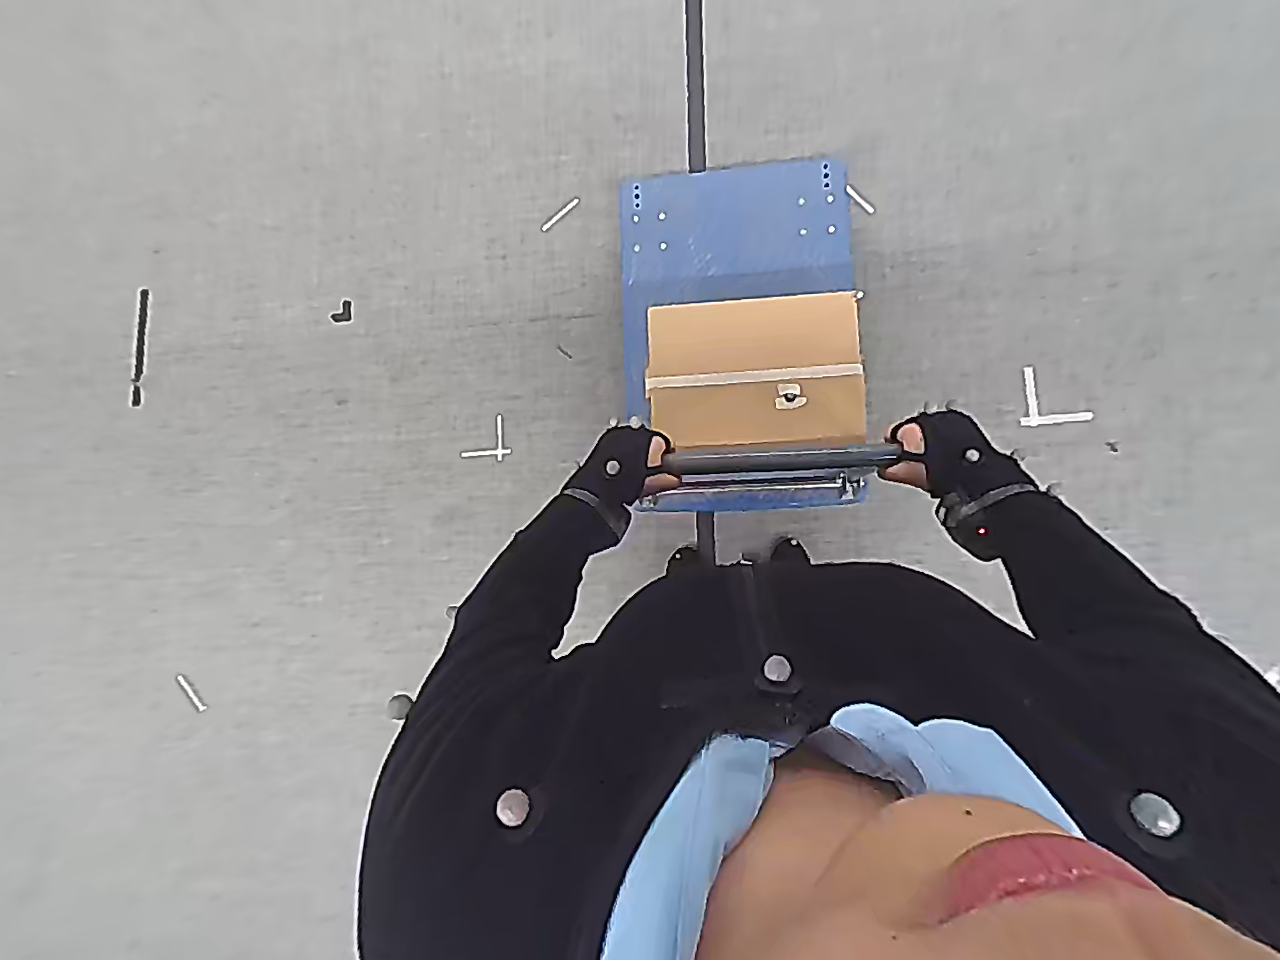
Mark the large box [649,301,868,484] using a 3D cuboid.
[{"bbox_3d":[0.236,-0.165,1.184,0.408,0.320,0.320,-2,86,6],"label":"large box"}]
